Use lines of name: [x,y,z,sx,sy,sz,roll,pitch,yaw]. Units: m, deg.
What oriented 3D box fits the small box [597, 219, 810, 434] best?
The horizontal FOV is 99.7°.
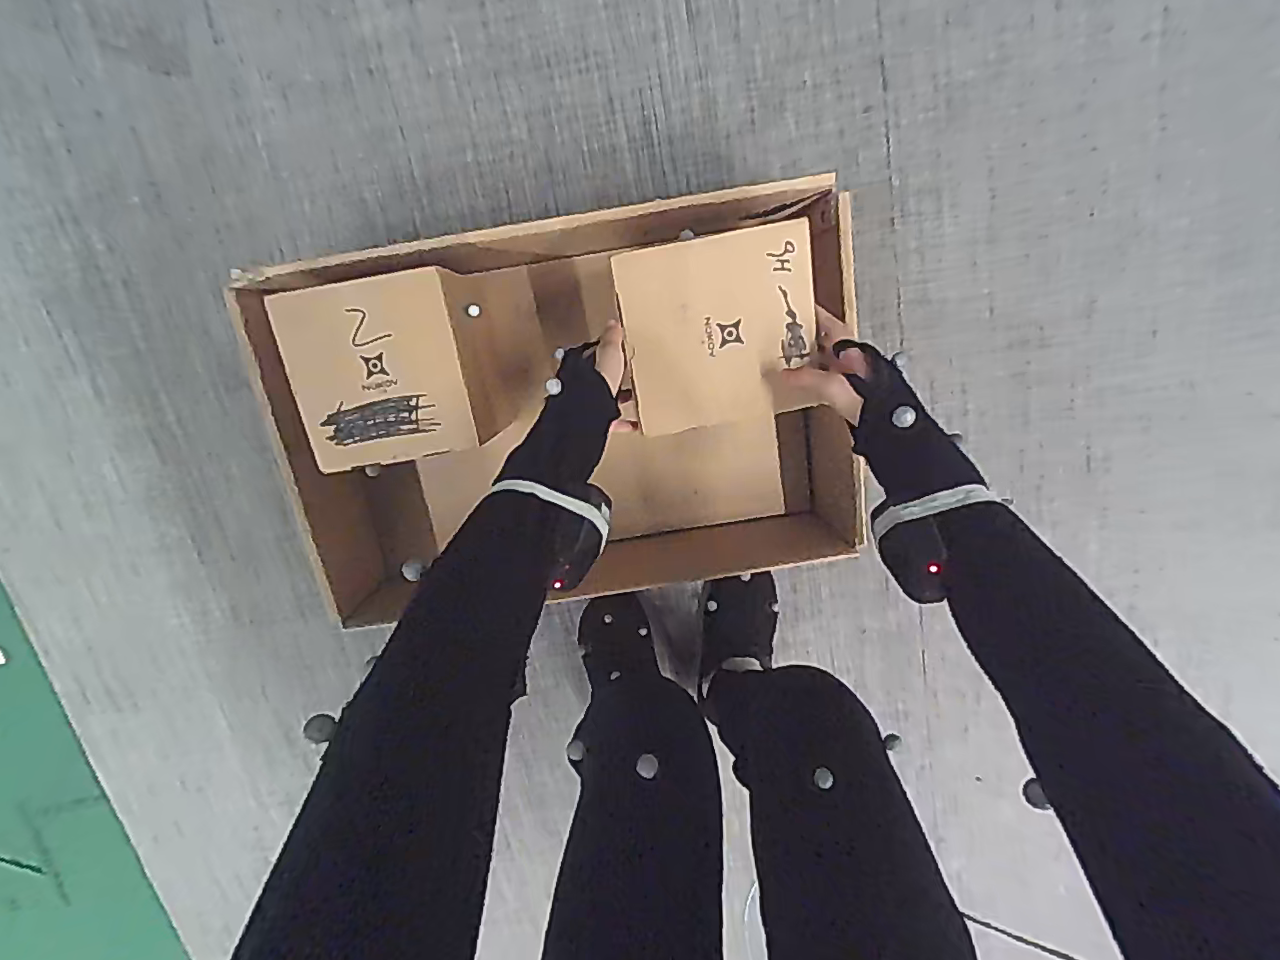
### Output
small box: [0.060,-0.158,0.558,0.179,0.176,0.168,-10,111,2]
